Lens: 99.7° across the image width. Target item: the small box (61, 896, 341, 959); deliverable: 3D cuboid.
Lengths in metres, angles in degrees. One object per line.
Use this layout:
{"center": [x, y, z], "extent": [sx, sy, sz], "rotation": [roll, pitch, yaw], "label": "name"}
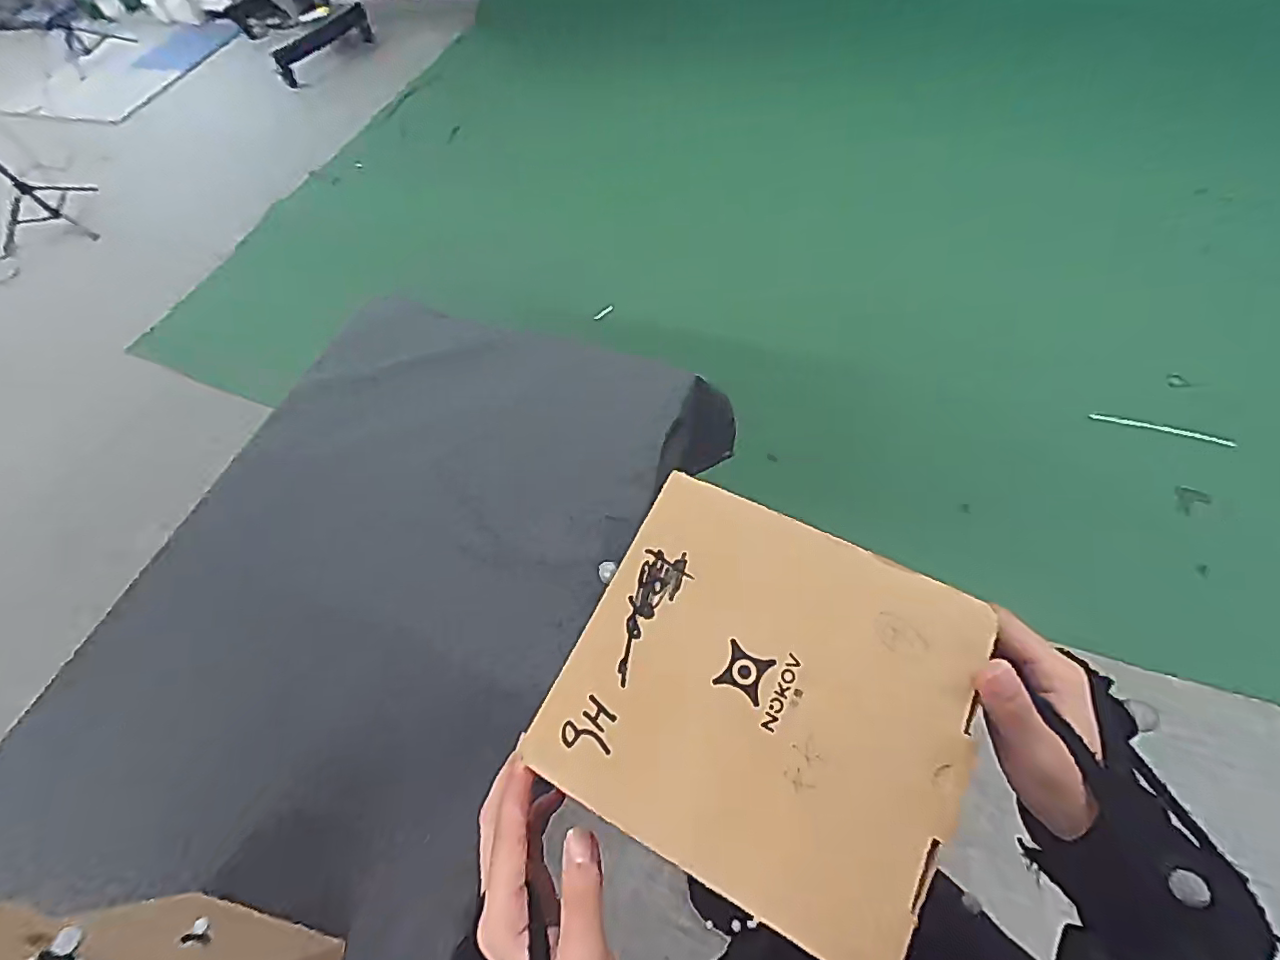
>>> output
{"center": [-0.374, 0.436, 0.401], "extent": [0.179, 0.176, 0.168], "rotation": [6, 62, 11], "label": "small box"}
